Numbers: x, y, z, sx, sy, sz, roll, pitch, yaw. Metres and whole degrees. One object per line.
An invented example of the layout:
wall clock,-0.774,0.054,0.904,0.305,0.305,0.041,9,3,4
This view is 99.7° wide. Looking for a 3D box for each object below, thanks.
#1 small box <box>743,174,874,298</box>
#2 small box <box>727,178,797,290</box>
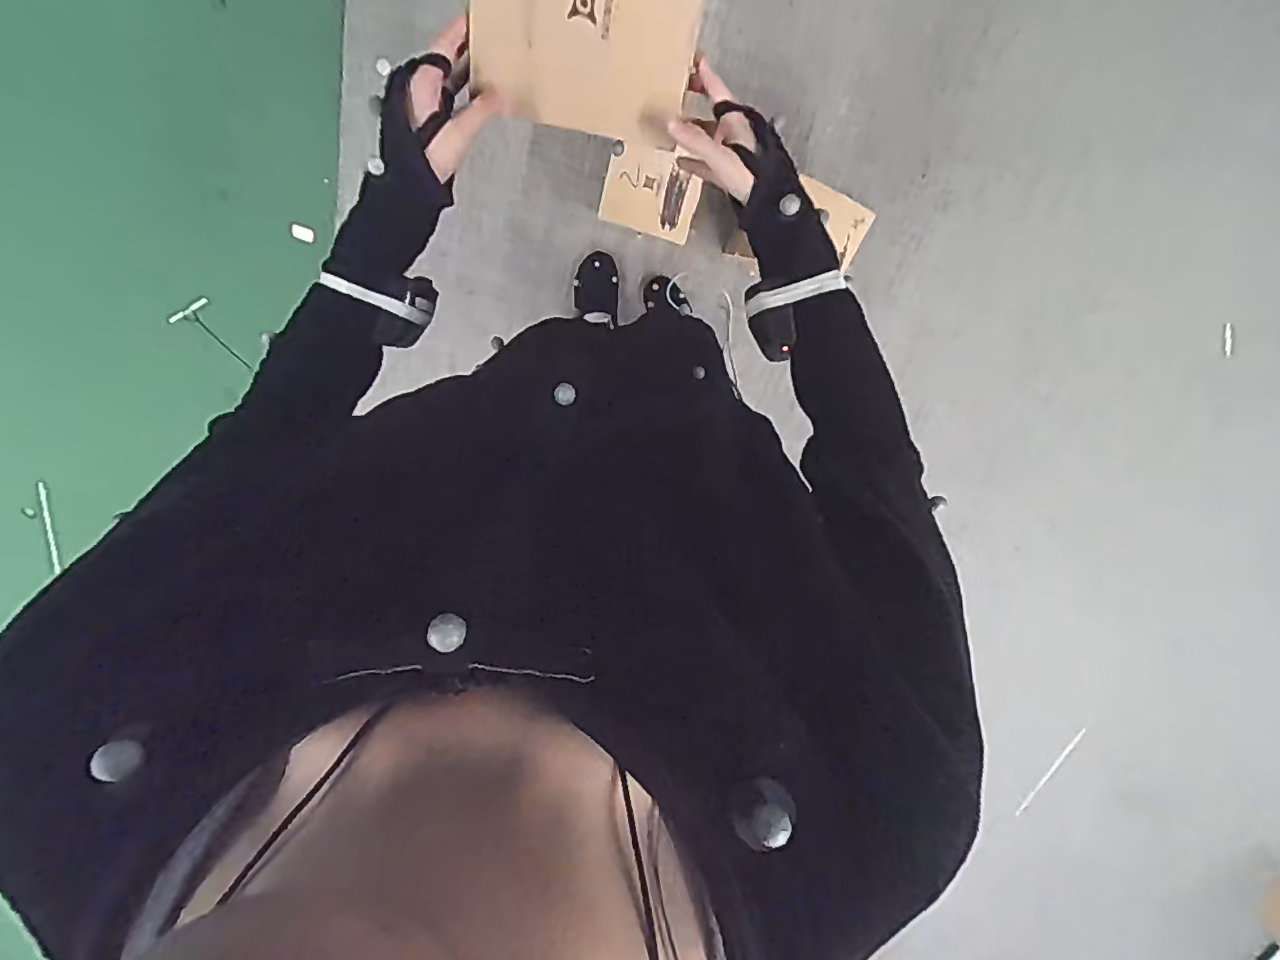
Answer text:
small box,0.329,-0.488,1.099,0.179,0.176,0.168,23,112,-9
small box,0.315,-0.562,1.246,0.168,0.176,0.179,23,112,-10
